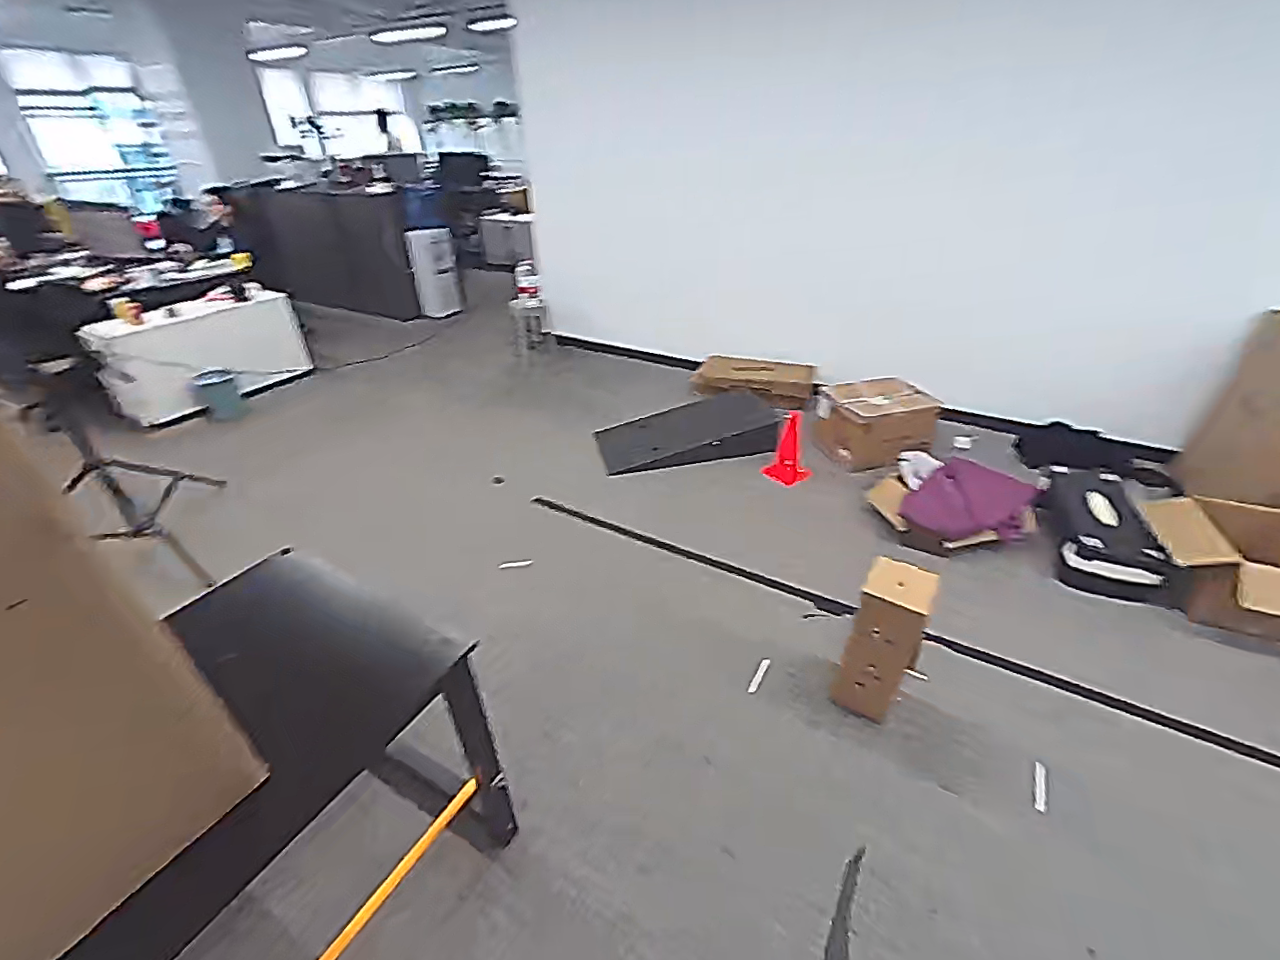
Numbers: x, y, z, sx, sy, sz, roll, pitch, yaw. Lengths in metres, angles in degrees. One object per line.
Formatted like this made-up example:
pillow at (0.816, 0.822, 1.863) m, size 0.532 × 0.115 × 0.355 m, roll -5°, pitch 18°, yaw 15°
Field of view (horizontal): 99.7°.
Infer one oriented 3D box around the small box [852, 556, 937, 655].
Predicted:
small box at (0.710, 0.352, 1.519) m, size 0.168 × 0.176 × 0.179 m, roll 19°, pitch 39°, yaw 29°

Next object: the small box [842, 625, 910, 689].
small box at (0.719, 0.481, 1.618) m, size 0.168 × 0.176 × 0.179 m, roll 19°, pitch 39°, yaw 28°

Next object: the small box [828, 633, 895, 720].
small box at (0.712, 0.620, 1.707) m, size 0.179 × 0.176 × 0.168 m, roll 20°, pitch 39°, yaw 28°
